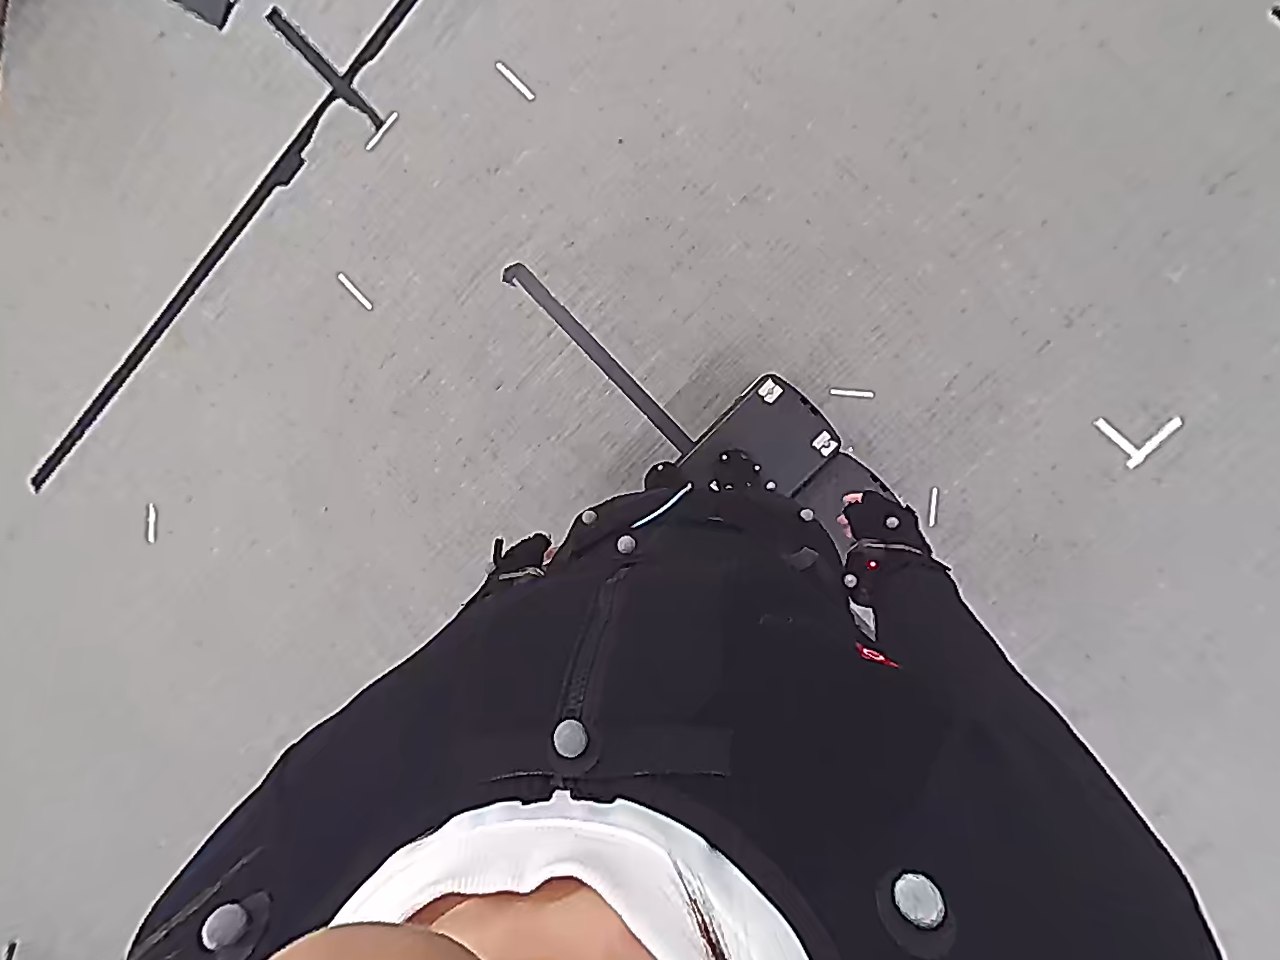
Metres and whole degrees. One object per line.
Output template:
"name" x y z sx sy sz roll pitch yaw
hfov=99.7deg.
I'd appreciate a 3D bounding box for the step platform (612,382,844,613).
"step platform" 0.235 0.050 1.520 0.286 0.204 0.684 44 97 2
